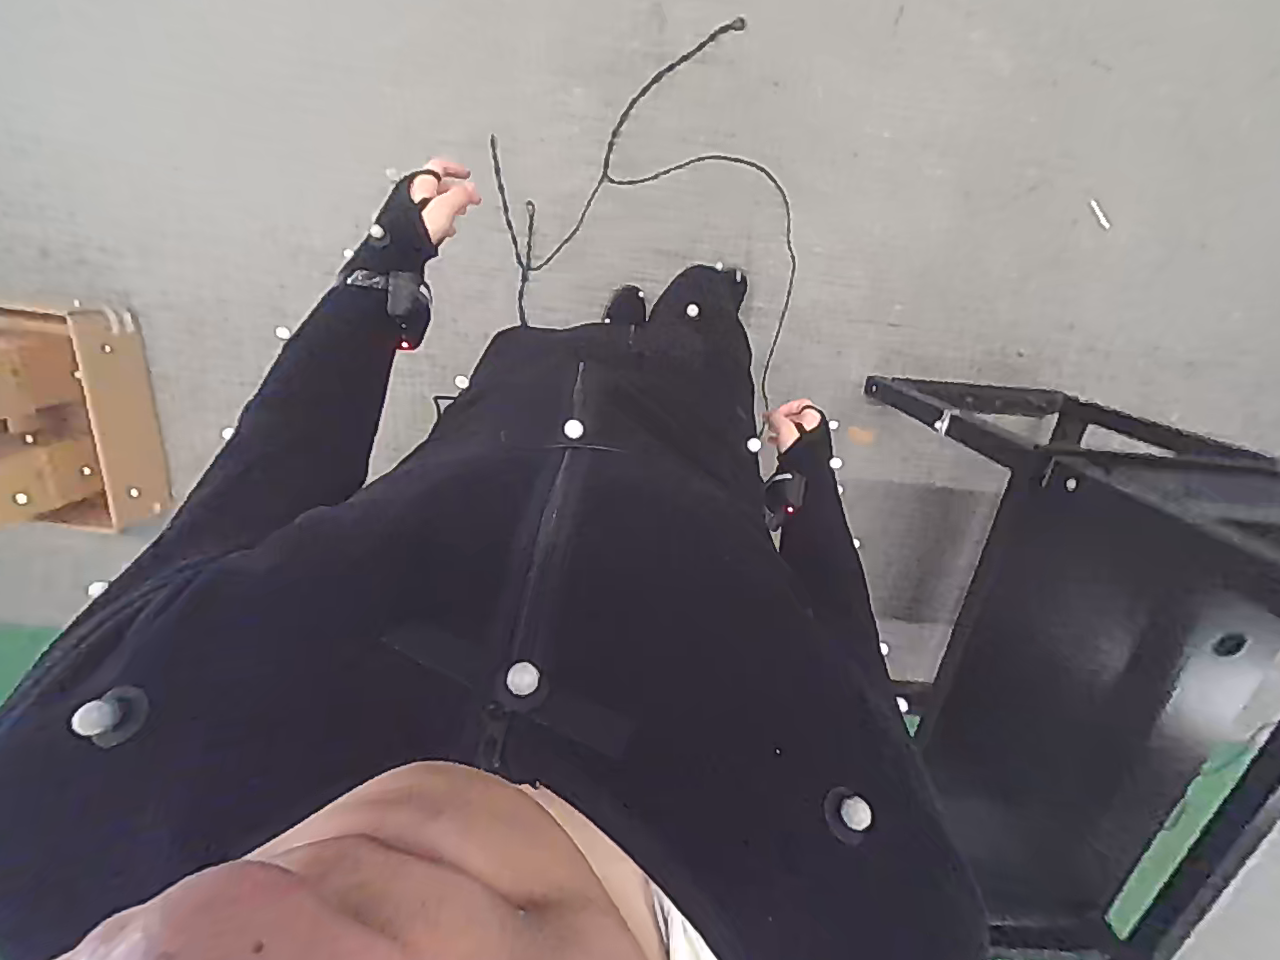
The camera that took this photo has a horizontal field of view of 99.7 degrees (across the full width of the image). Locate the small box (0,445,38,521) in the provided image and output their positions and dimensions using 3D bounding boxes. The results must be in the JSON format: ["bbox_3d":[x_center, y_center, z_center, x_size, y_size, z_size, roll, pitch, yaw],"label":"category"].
[{"bbox_3d":[-1.660,0.010,1.333,0.179,0.176,0.168,7,111,-3],"label":"small box"}]

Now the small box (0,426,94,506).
[{"bbox_3d":[-1.664,-0.043,1.486,0.179,0.176,0.168,8,110,-4],"label":"small box"}]

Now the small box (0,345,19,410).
[{"bbox_3d":[-1.618,-0.234,1.241,0.179,0.176,0.168,8,113,-3],"label":"small box"}]
